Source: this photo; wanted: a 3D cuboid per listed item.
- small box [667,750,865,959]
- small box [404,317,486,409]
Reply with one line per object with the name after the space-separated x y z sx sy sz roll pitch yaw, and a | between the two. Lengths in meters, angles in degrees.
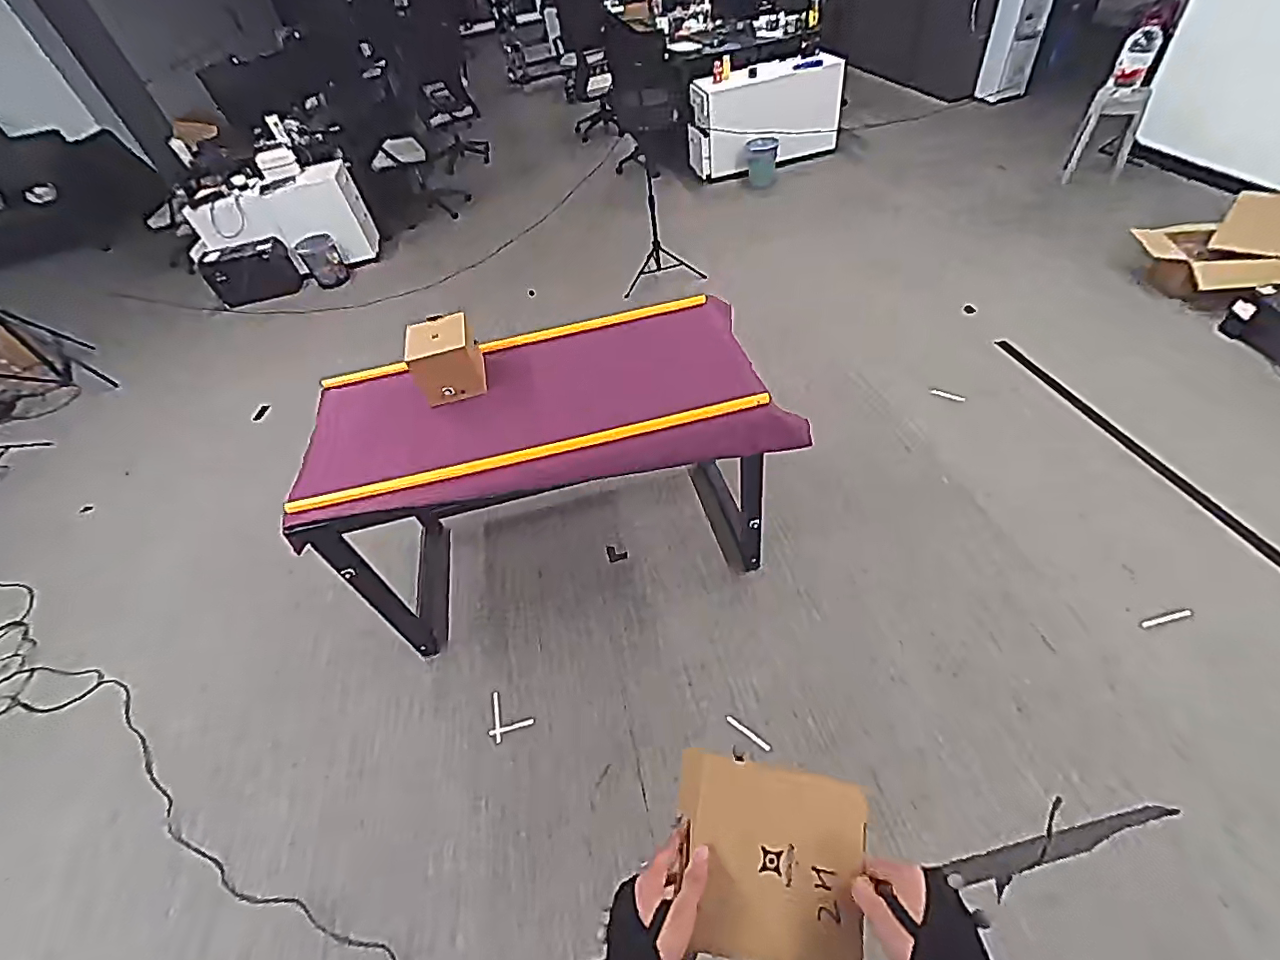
0.131 0.408 0.604 0.179 0.176 0.168 11 65 1 | small box
-0.544 -0.329 1.526 0.168 0.176 0.179 -16 48 -3 | small box
